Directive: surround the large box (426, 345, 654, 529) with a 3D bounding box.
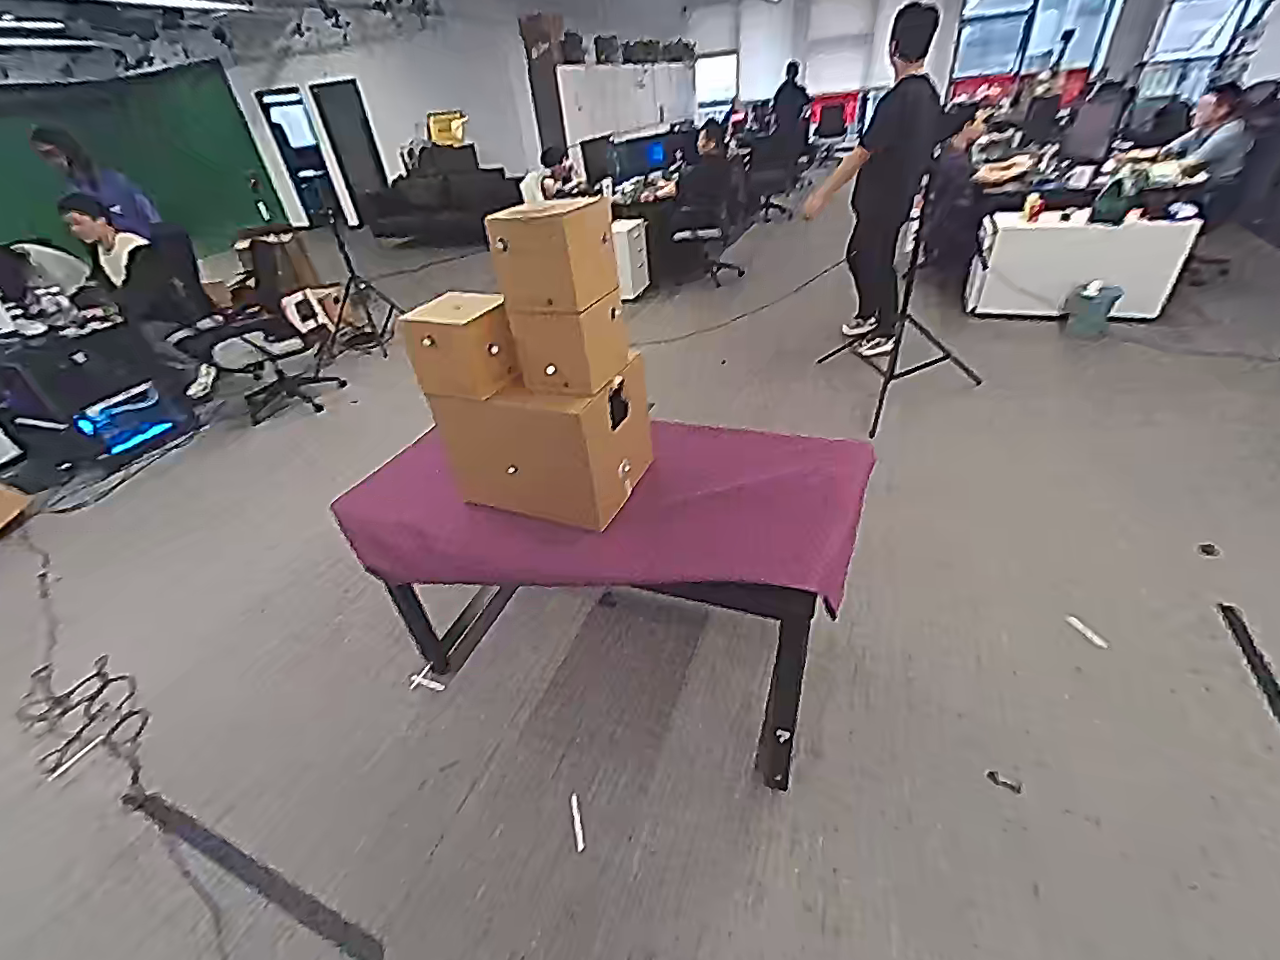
[{"bbox_3d":[-0.214,-0.117,1.306,0.408,0.320,0.320,9,37,22],"label":"large box"}]

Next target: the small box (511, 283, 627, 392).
[{"bbox_3d":[-0.137,-0.298,1.121,0.168,0.176,0.179,8,38,23],"label":"small box"}]
